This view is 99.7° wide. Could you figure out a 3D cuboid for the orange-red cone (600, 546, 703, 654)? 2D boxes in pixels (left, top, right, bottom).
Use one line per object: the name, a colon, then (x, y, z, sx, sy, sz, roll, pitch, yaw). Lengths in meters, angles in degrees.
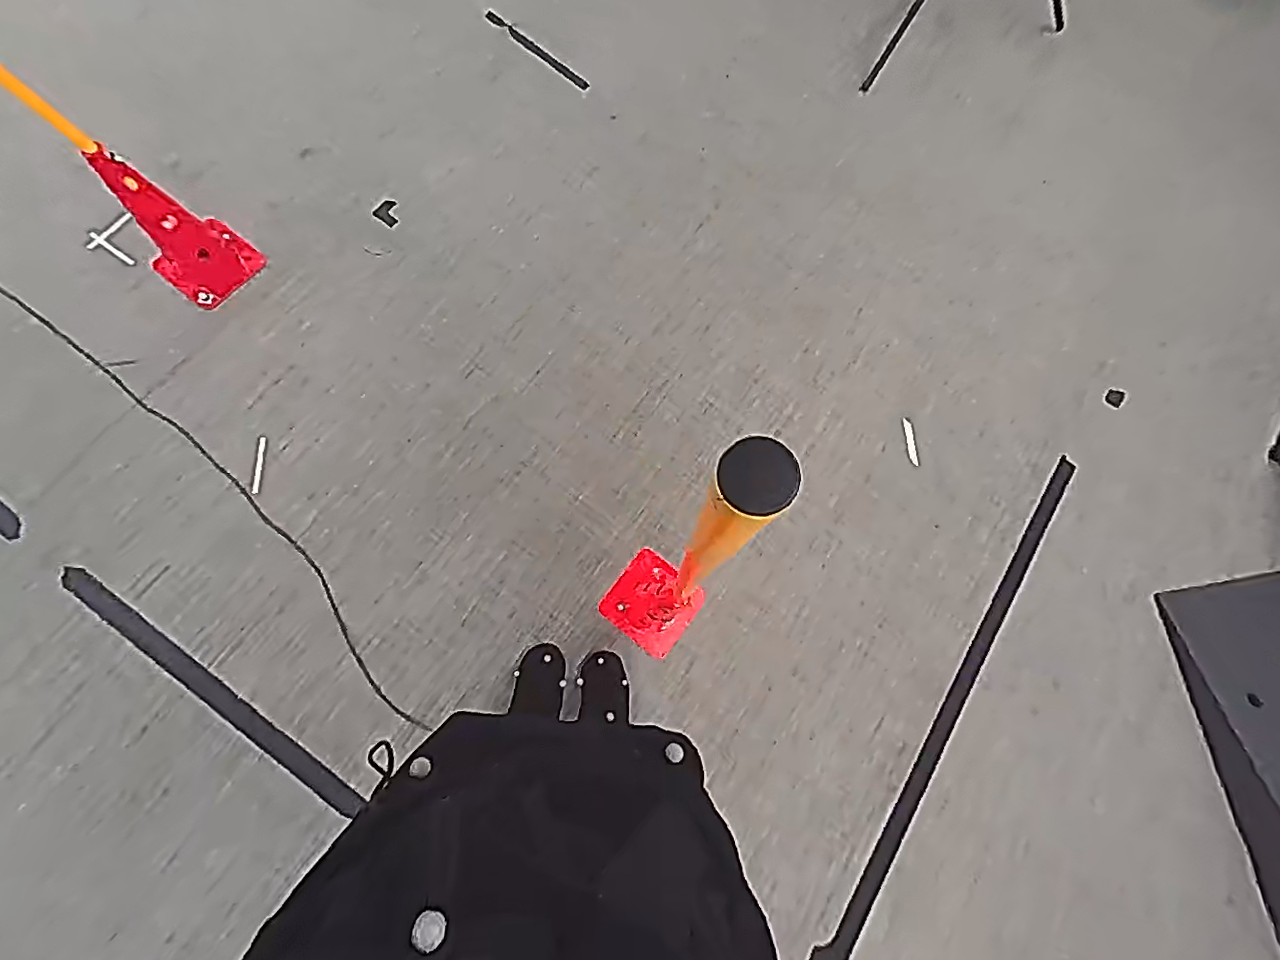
orange-red cone: (0.050, 0.246, 1.130, 0.199, 0.360, 0.198, 40, 75, 3)
